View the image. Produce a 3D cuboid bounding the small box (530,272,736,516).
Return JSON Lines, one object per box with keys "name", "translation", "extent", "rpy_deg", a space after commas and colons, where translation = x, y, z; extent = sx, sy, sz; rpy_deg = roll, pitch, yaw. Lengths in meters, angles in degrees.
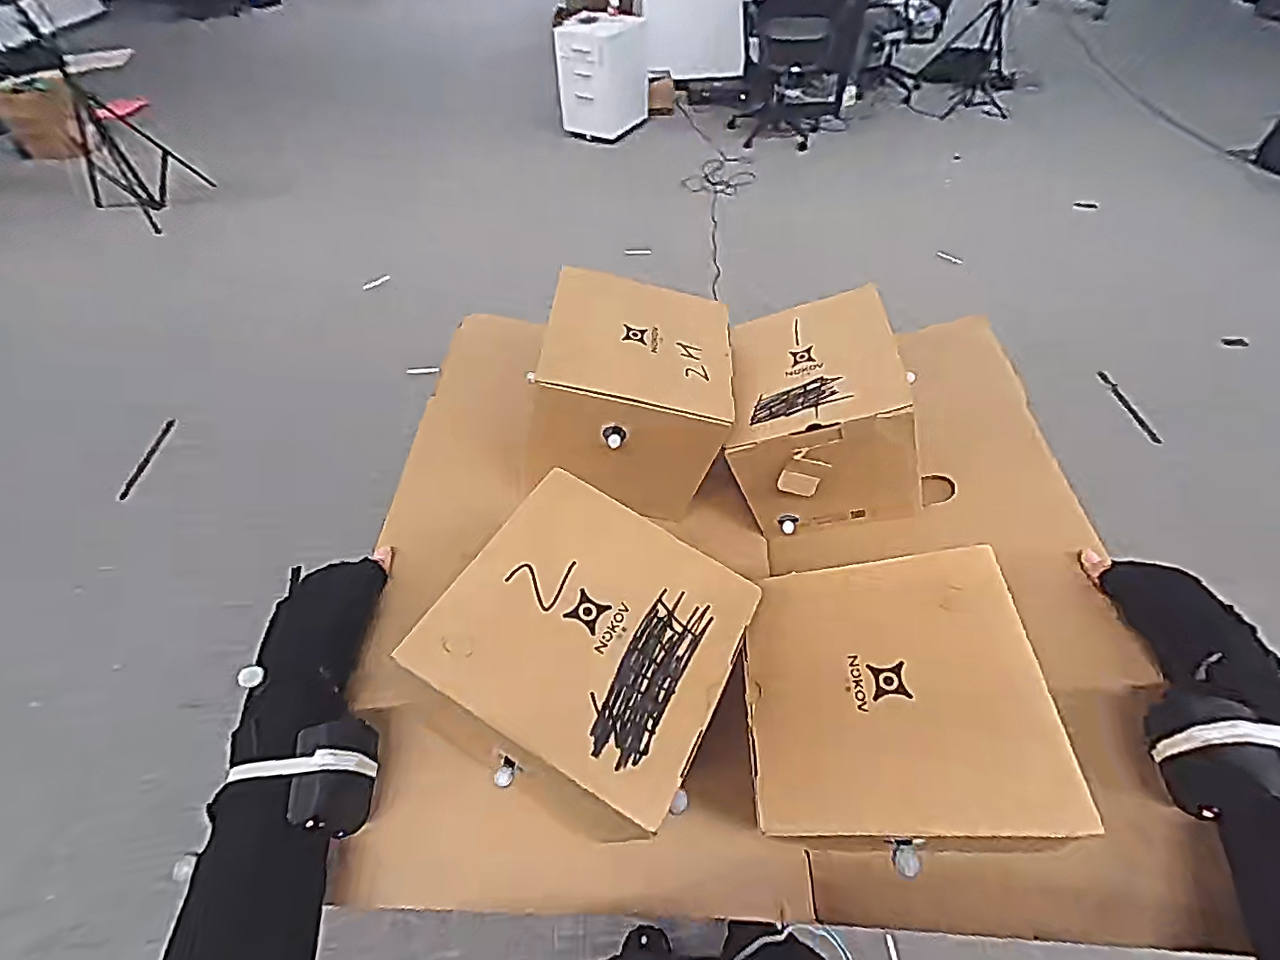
{"name": "small box", "translation": [-0.012, -0.080, 0.564], "extent": [0.179, 0.176, 0.168], "rpy_deg": [12, 54, -8]}
